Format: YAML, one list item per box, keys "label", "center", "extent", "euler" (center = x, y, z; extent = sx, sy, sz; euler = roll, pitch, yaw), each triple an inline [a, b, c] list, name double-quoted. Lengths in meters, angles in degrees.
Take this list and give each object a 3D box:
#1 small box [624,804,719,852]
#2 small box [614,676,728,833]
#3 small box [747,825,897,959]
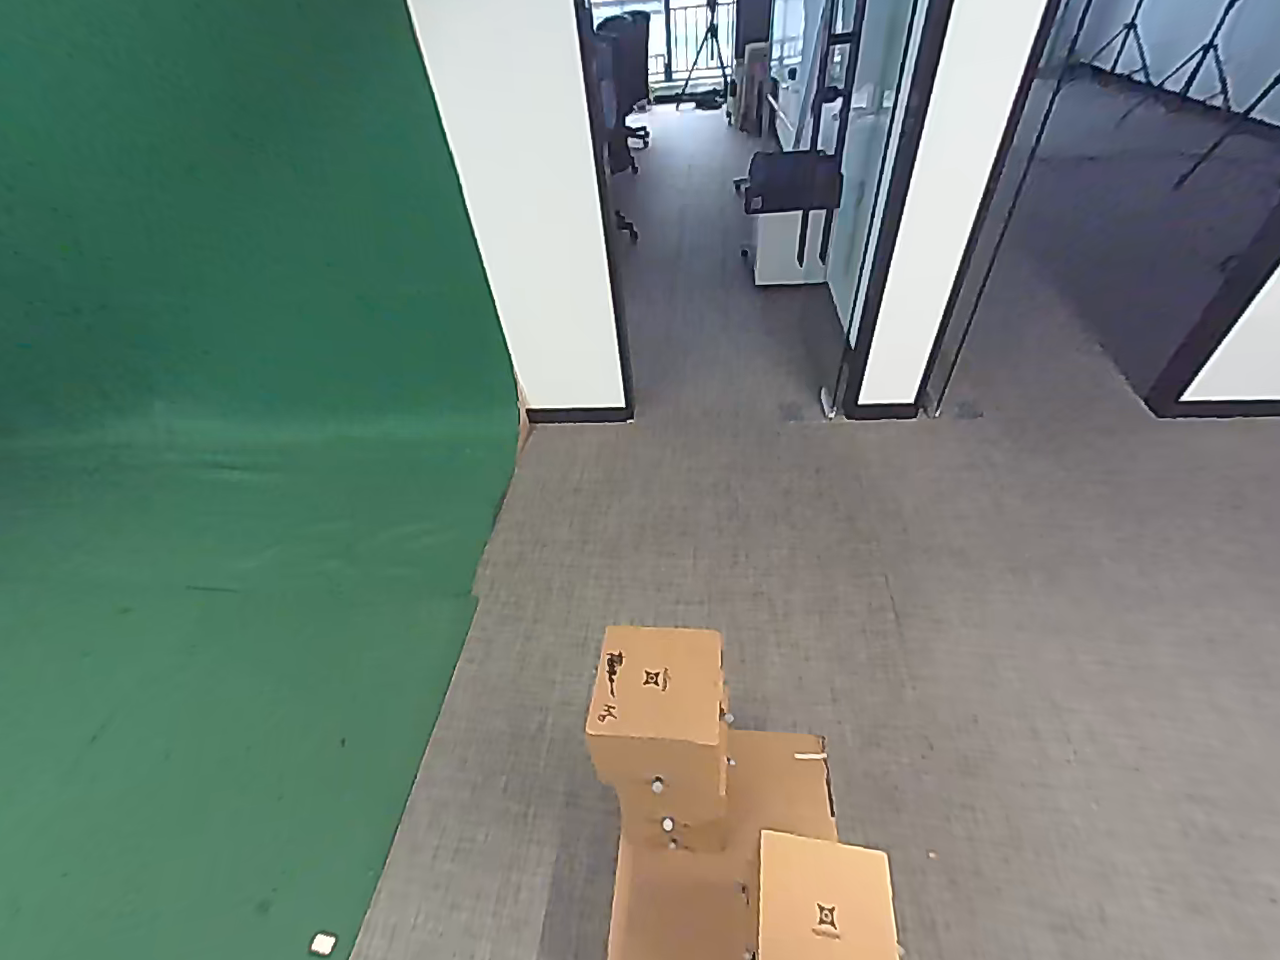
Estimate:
- label: "small box"
  center: [0.068, 0.571, 1.025]
  extent: [0.168, 0.176, 0.179]
  euler: [0, 41, 8]
- label: "small box"
  center: [0.059, 0.457, 0.905]
  extent: [0.168, 0.176, 0.179]
  euler: [2, 42, 10]
- label: "small box"
  center: [0.234, 0.601, 0.727]
  extent: [0.168, 0.176, 0.179]
  euler: [4, 43, 9]
